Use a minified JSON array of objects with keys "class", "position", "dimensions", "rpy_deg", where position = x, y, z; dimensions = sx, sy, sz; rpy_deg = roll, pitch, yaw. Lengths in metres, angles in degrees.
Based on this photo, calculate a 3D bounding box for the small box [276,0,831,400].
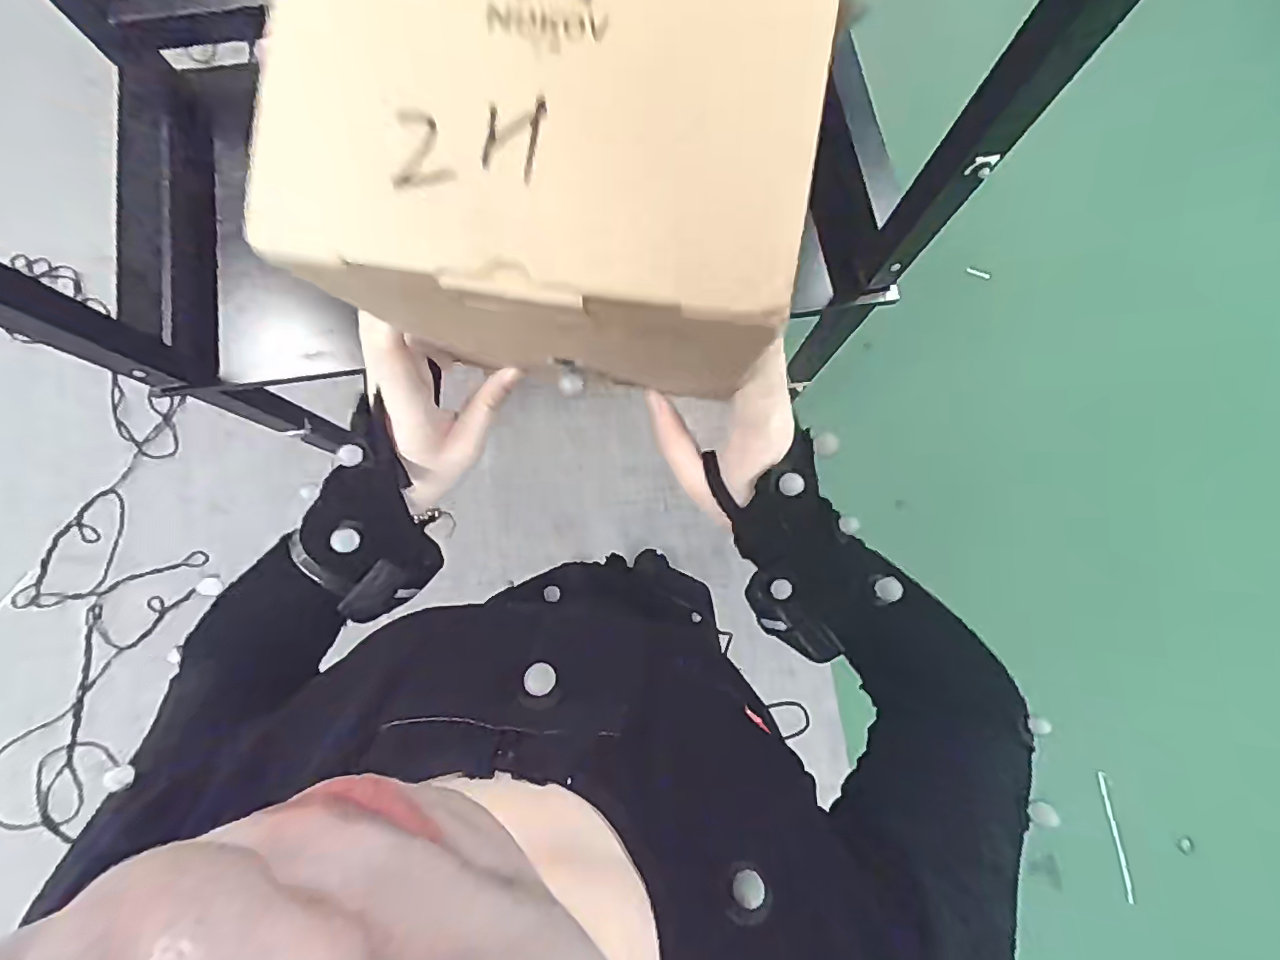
[{"class":"small box","position":[-0.019,-0.144,0.250],"dimensions":[0.168,0.176,0.179],"rpy_deg":[10,92,5]}]
